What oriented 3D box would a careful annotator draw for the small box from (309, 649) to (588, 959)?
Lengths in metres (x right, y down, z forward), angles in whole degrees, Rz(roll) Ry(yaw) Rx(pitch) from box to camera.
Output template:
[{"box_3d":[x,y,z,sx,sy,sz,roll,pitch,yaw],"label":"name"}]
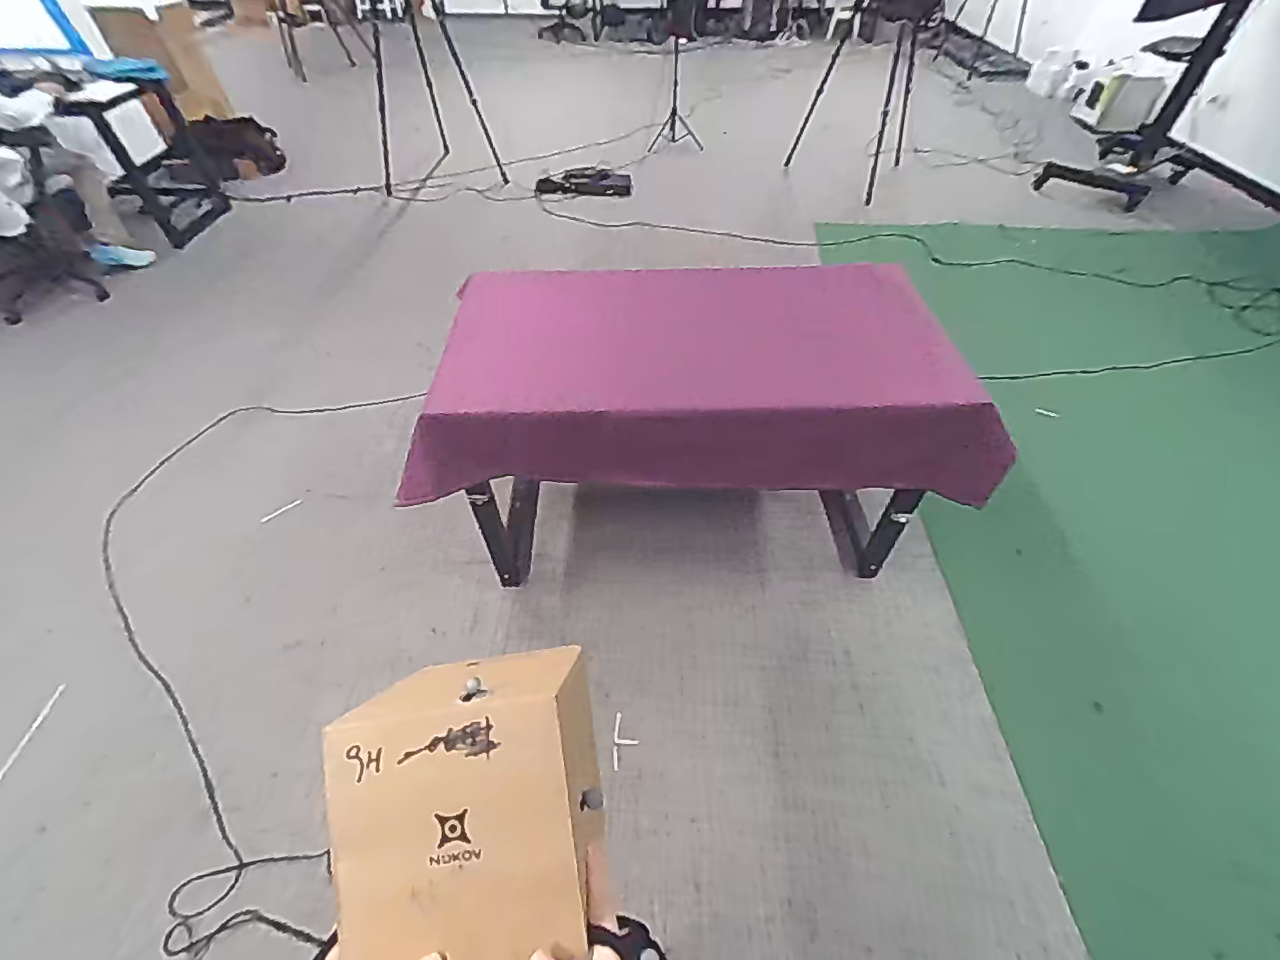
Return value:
[{"box_3d":[-0.142,0.258,0.457,0.168,0.176,0.179,-9,85,-1],"label":"small box"}]
